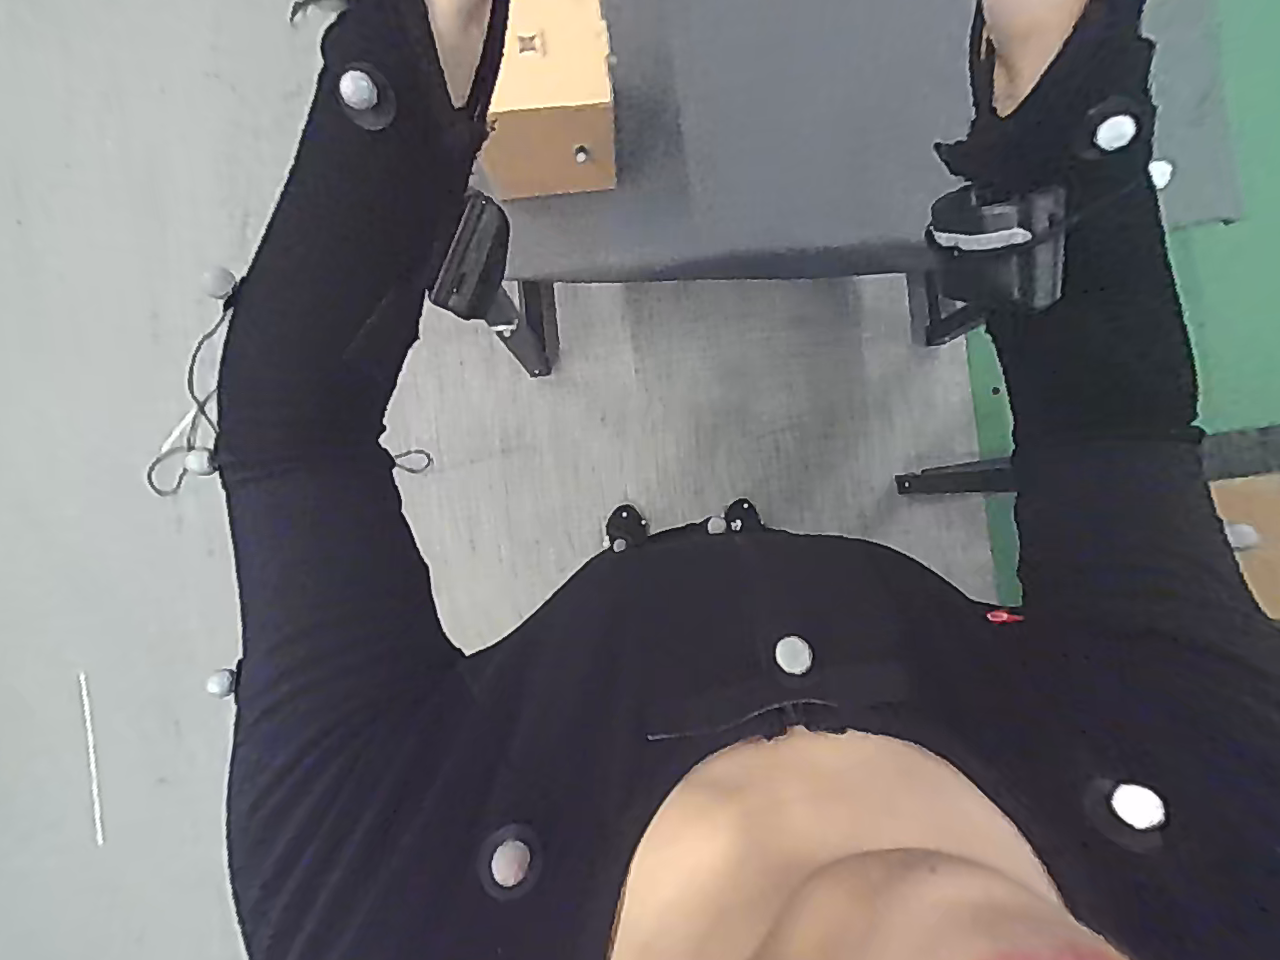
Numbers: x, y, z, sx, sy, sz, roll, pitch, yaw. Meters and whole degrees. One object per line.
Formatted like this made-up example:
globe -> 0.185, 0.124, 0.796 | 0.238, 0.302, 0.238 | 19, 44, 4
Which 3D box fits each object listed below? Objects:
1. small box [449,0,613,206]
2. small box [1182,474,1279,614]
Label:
small box -> -0.130, -0.492, 0.712 | 0.179, 0.176, 0.168 | -7, 85, 0
small box -> 0.852, 0.078, 0.690 | 0.179, 0.176, 0.168 | -7, 89, -1
